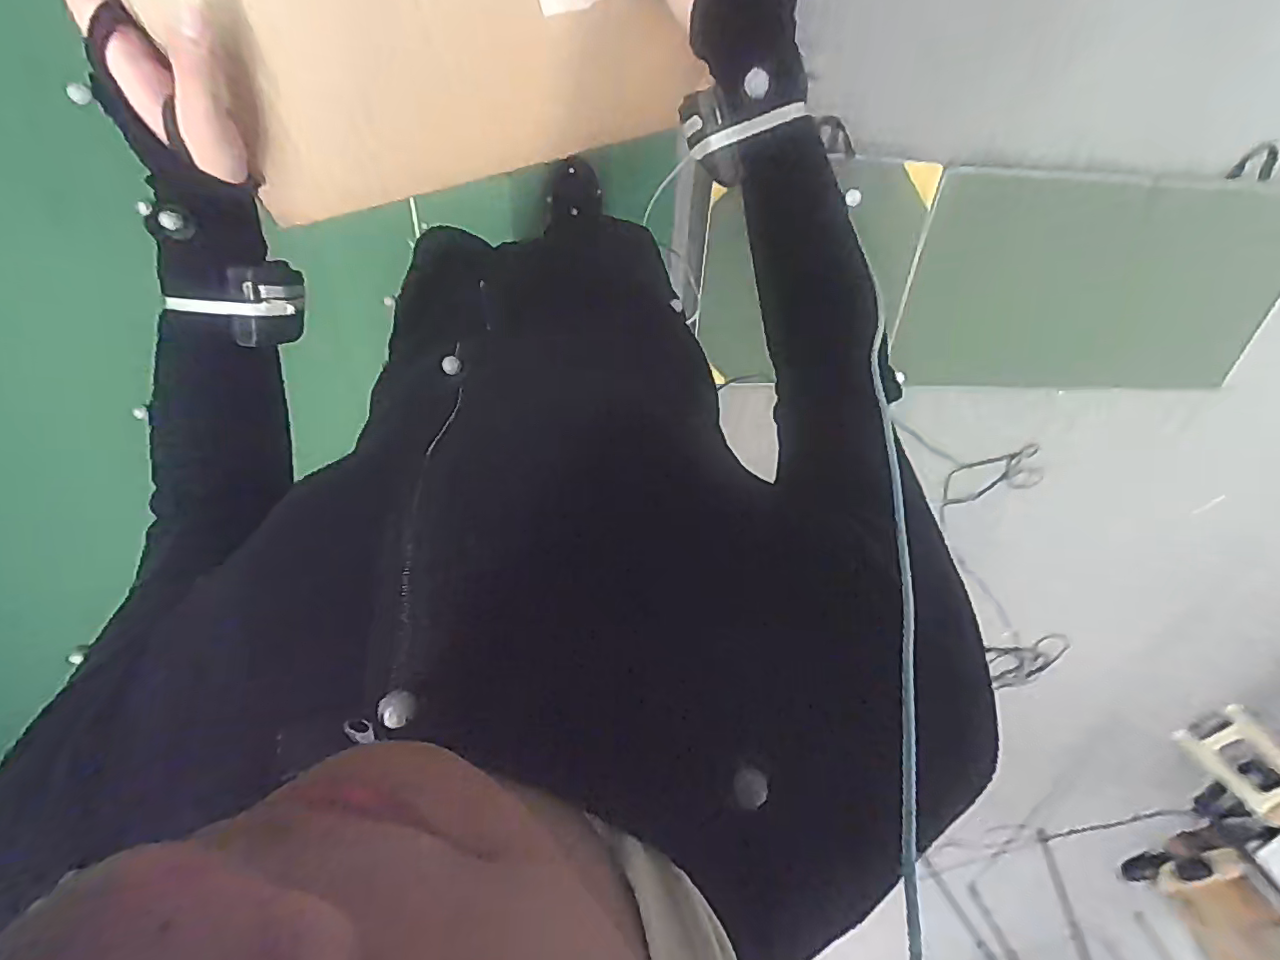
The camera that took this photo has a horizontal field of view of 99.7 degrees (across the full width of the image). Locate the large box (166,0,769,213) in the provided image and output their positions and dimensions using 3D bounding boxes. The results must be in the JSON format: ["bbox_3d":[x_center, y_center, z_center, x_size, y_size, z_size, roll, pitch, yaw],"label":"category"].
[{"bbox_3d":[-0.145,-0.471,0.424,0.408,0.320,0.320,-16,140,-3],"label":"large box"}]
